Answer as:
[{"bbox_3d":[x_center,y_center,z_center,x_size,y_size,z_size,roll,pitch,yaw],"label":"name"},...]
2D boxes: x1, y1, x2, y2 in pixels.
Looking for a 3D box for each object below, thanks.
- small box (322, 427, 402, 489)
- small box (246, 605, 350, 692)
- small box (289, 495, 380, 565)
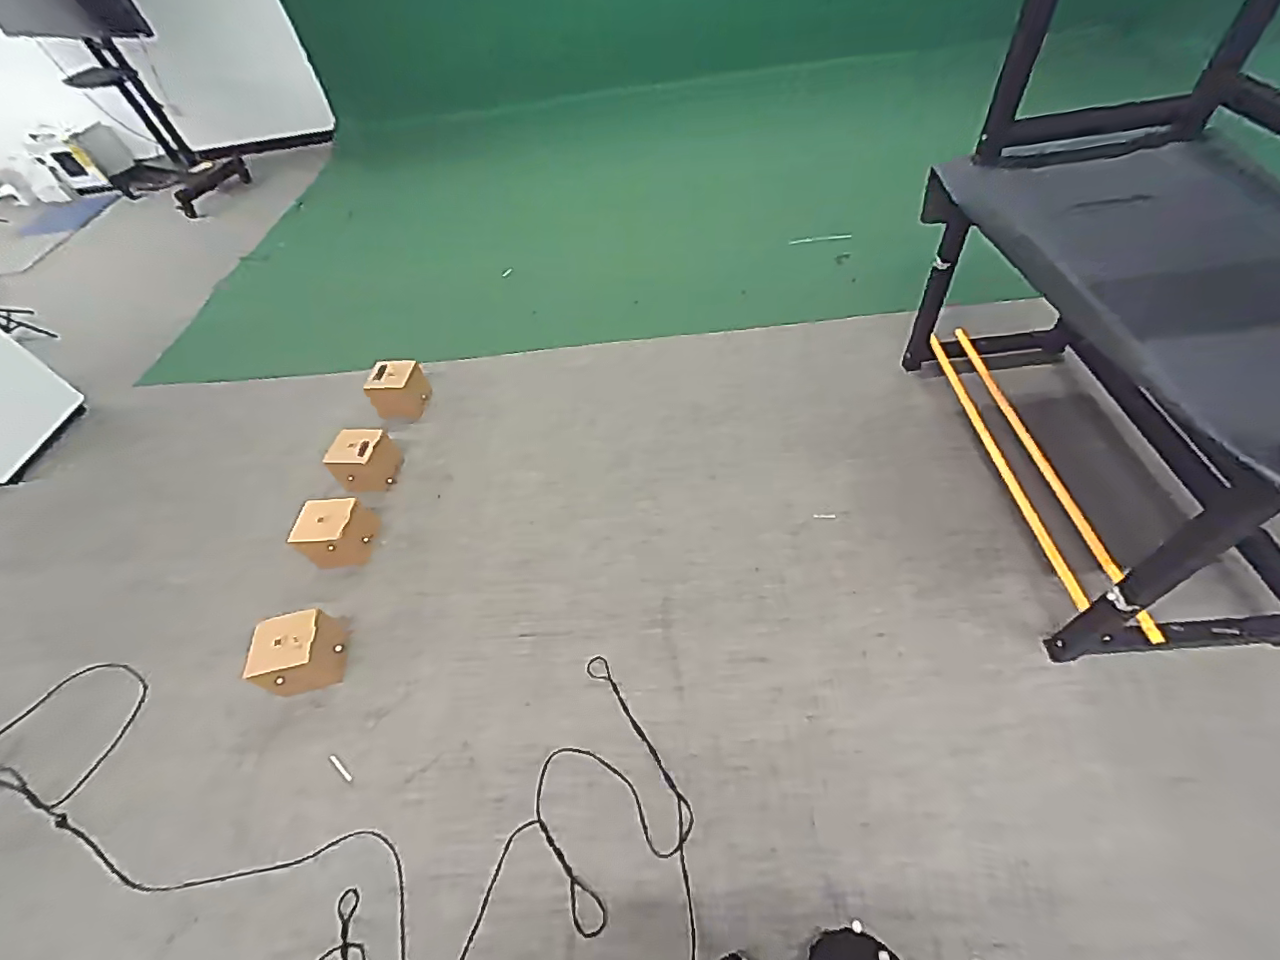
[{"bbox_3d":[-1.012,-0.077,1.989,0.179,0.176,0.168,0,52,10],"label":"small box"},{"bbox_3d":[-0.965,0.485,1.541,0.179,0.176,0.168,-14,52,-2],"label":"small box"},{"bbox_3d":[-1.006,0.170,1.795,0.179,0.176,0.168,-4,52,5],"label":"small box"}]
